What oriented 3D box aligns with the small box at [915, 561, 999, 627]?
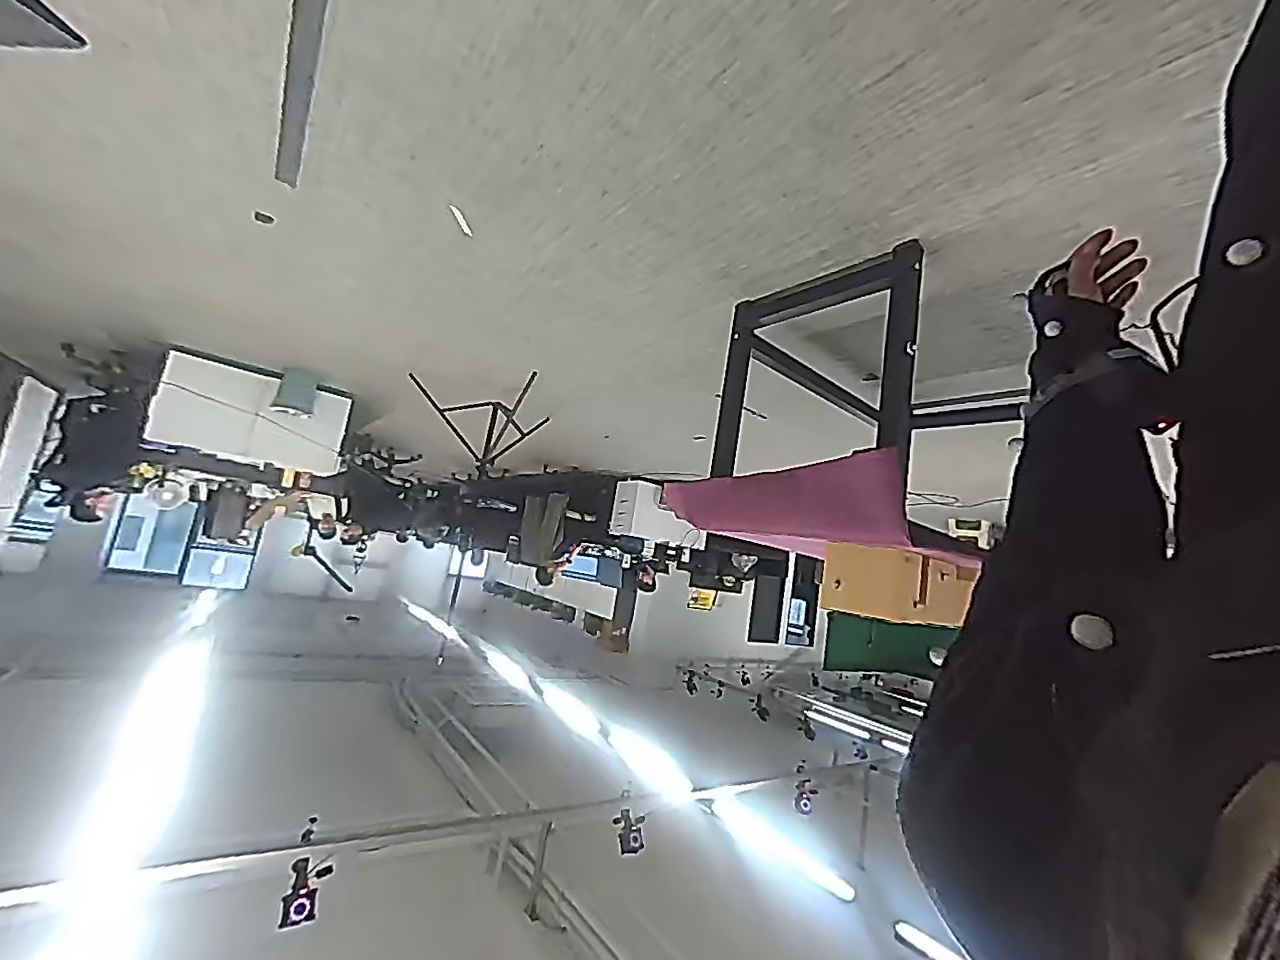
[{"bbox_3d":[0.959,0.340,1.632,0.168,0.176,0.179,15,170,-34],"label":"small box"}]
